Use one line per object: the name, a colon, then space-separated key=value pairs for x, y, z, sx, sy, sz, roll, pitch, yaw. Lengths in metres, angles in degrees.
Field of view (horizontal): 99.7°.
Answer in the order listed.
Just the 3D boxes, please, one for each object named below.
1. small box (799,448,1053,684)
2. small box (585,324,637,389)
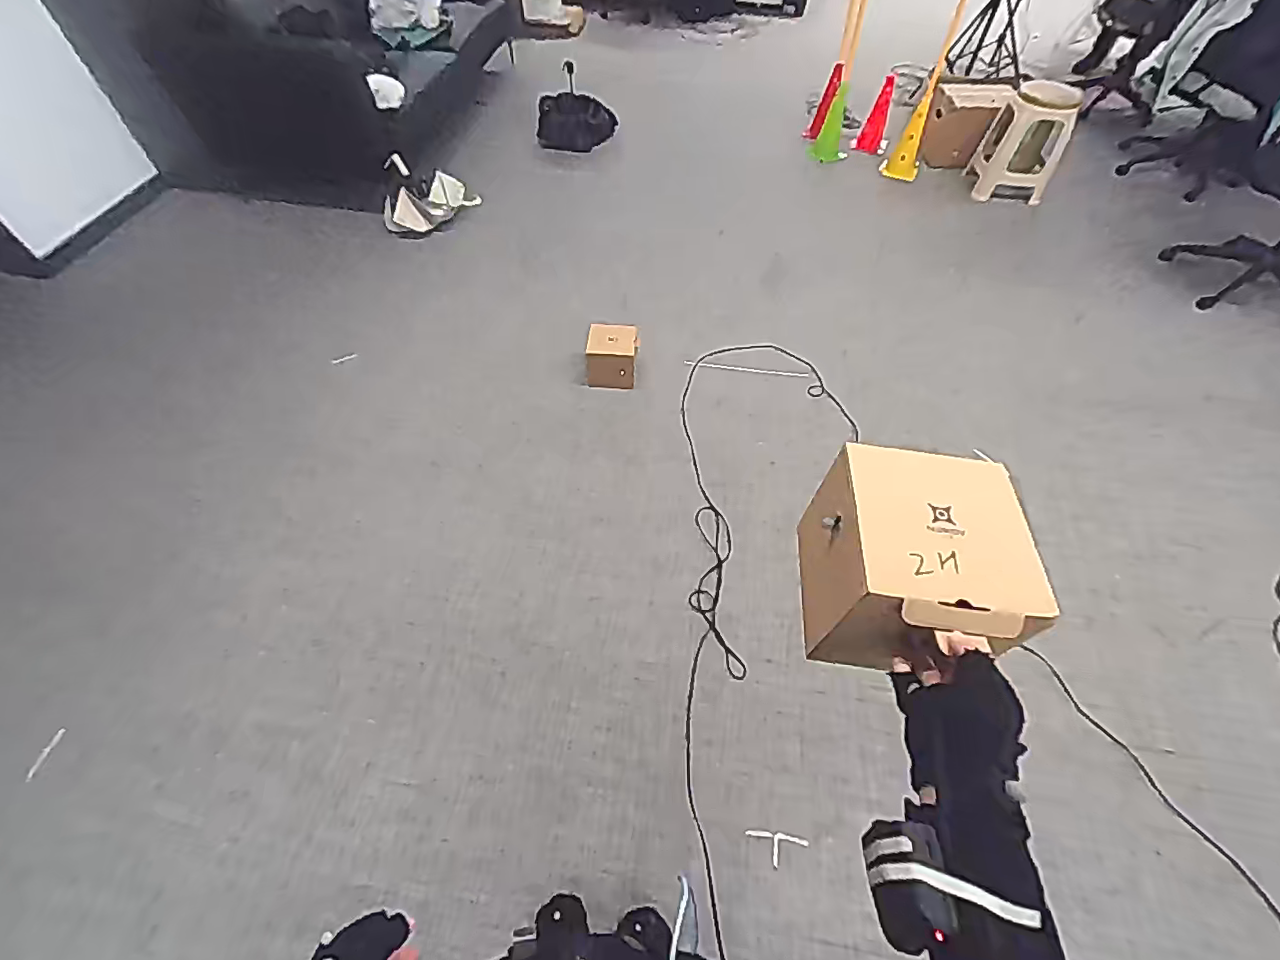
small box: x=0.275 y=0.094 z=0.573 sx=0.168 sy=0.176 sz=0.179 roll=8 pitch=53 yaw=1
small box: x=-0.104 y=-0.454 z=2.009 sx=0.179 sy=0.176 sz=0.168 roll=3 pitch=54 yaw=2
